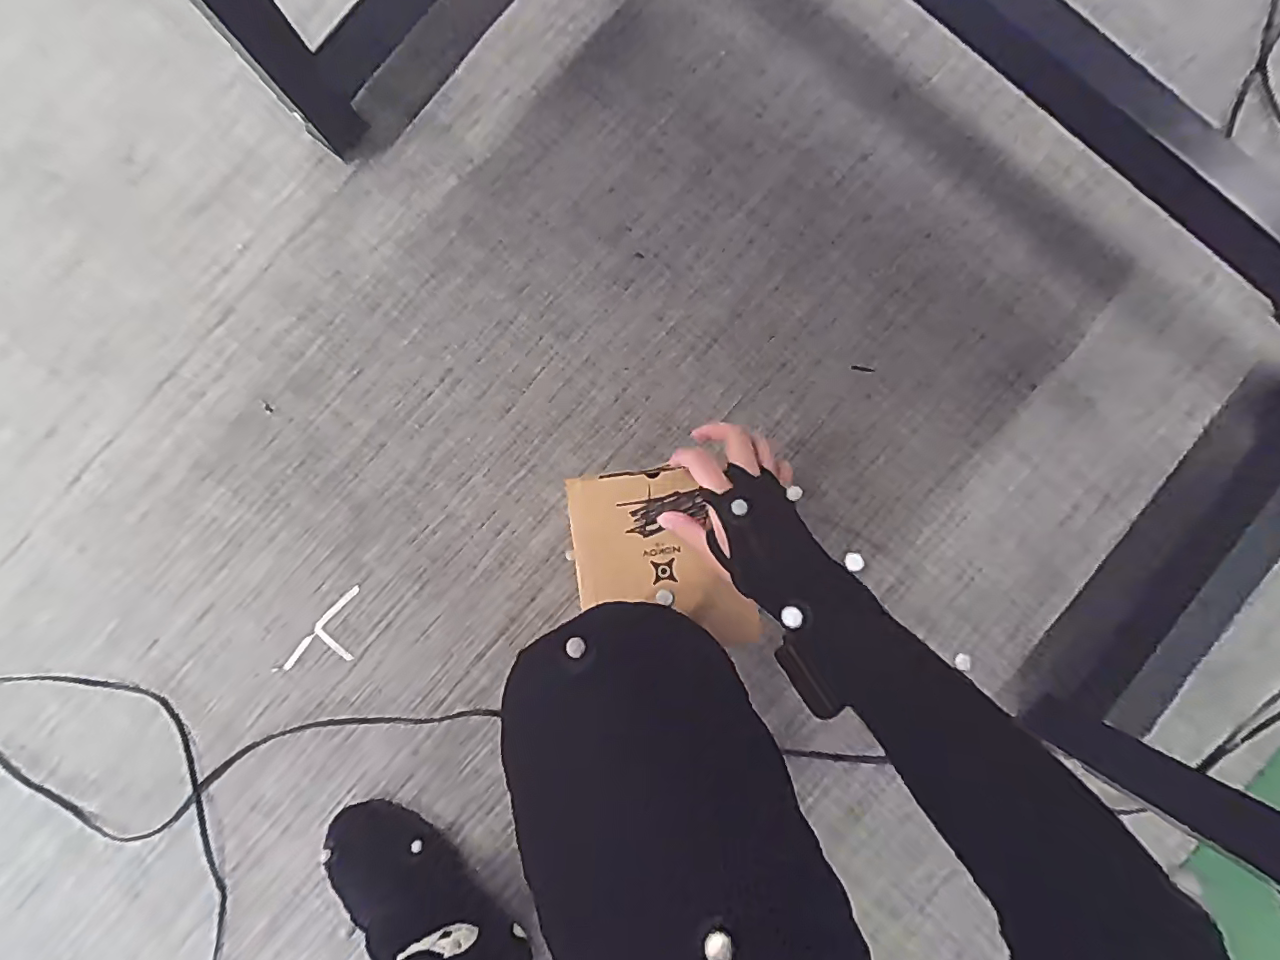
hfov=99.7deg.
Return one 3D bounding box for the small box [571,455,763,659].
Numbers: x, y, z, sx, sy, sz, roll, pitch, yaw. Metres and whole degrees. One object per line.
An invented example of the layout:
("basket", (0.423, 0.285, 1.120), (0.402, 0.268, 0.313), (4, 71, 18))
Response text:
("small box", (0.023, 0.072, 0.579), (0.168, 0.176, 0.179), (-7, 90, 0))
